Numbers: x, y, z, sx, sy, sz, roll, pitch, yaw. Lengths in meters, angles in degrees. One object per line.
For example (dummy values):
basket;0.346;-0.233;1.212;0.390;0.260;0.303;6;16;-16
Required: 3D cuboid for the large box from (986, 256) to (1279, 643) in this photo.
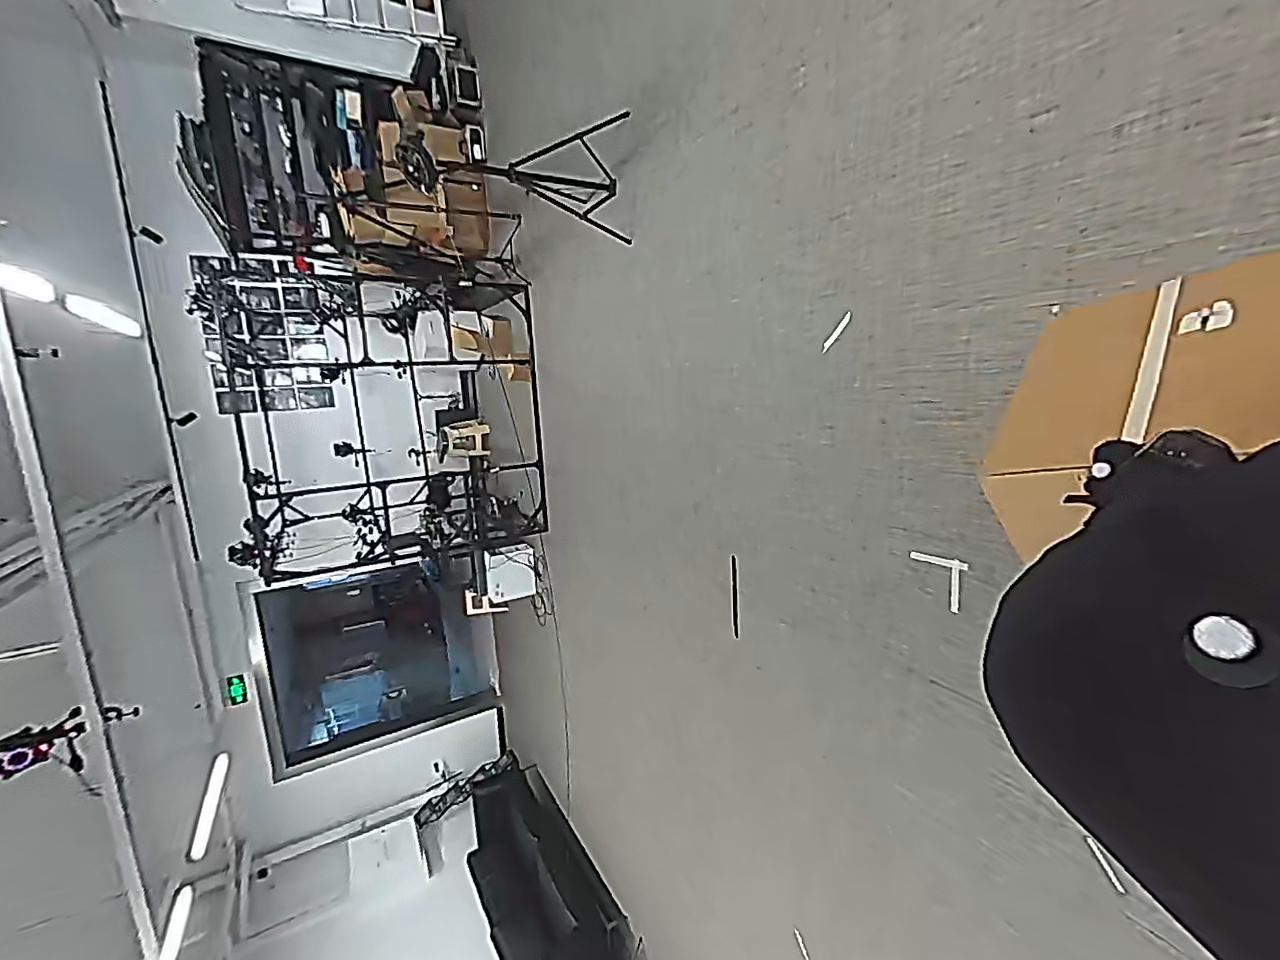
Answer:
large box;0.757;-0.038;0.745;0.320;0.408;0.320;52;152;-18
